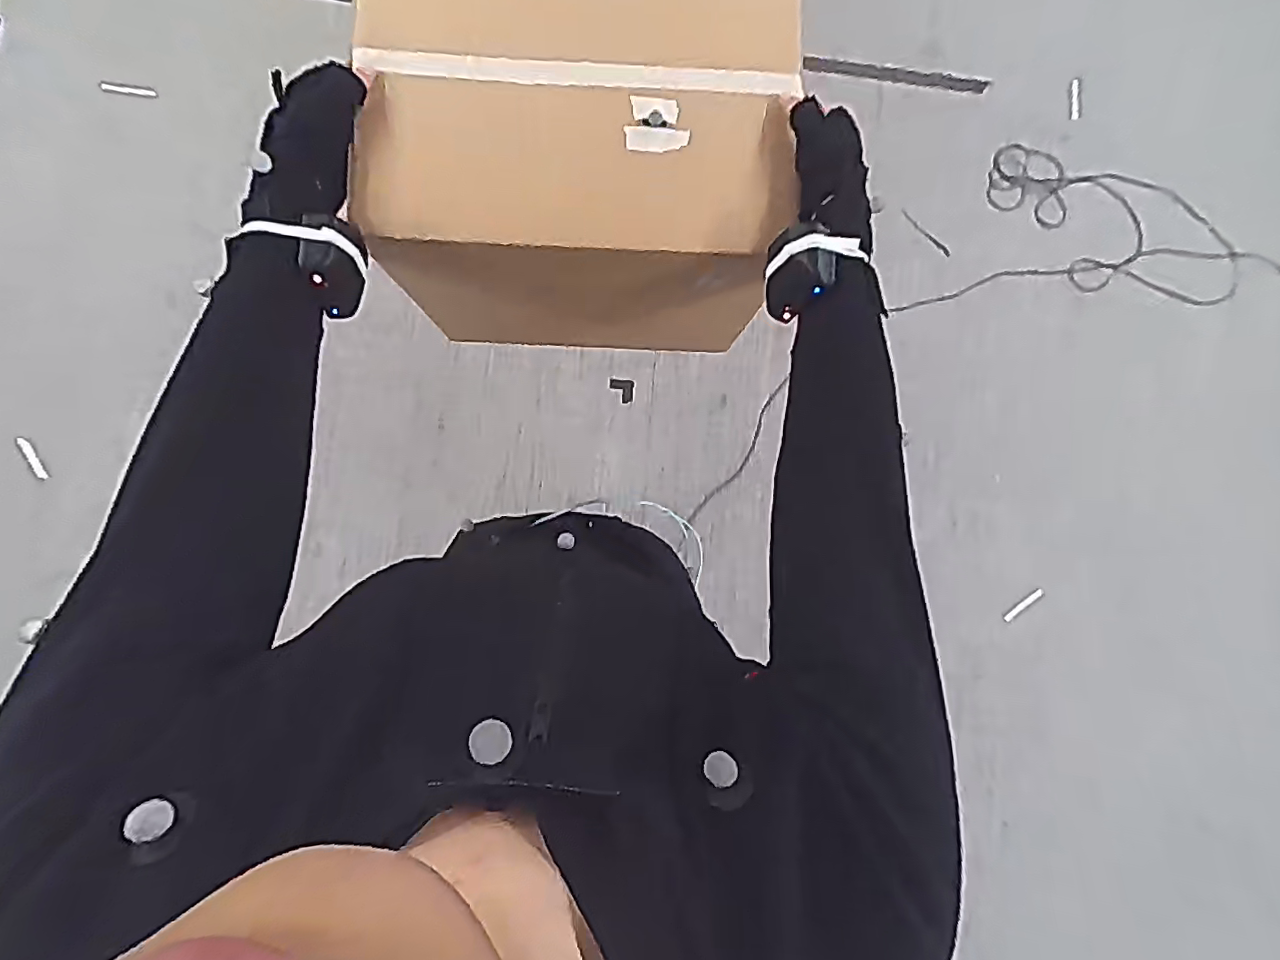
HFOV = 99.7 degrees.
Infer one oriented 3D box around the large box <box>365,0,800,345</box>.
[{"bbox_3d":[-0.058,-0.362,0.649,0.408,0.320,0.320,2,88,-4],"label":"large box"}]
